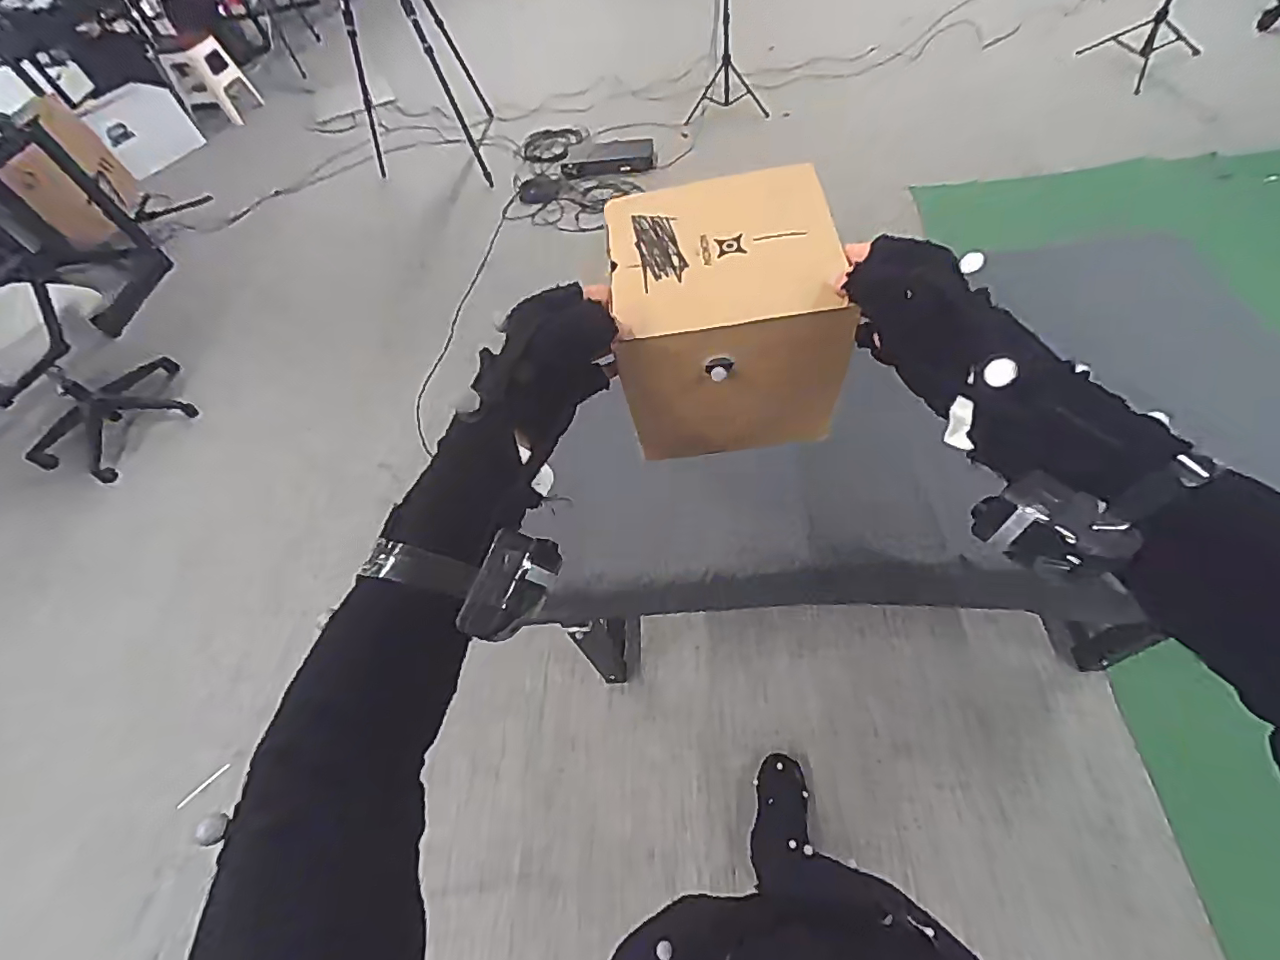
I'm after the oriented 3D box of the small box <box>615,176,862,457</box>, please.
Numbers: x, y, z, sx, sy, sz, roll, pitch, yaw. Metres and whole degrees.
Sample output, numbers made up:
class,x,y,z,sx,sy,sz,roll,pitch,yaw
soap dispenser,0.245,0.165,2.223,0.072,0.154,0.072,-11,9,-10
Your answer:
class,x,y,z,sx,sy,sz,roll,pitch,yaw
small box,0.080,-0.134,0.491,0.179,0.176,0.168,-7,60,6
